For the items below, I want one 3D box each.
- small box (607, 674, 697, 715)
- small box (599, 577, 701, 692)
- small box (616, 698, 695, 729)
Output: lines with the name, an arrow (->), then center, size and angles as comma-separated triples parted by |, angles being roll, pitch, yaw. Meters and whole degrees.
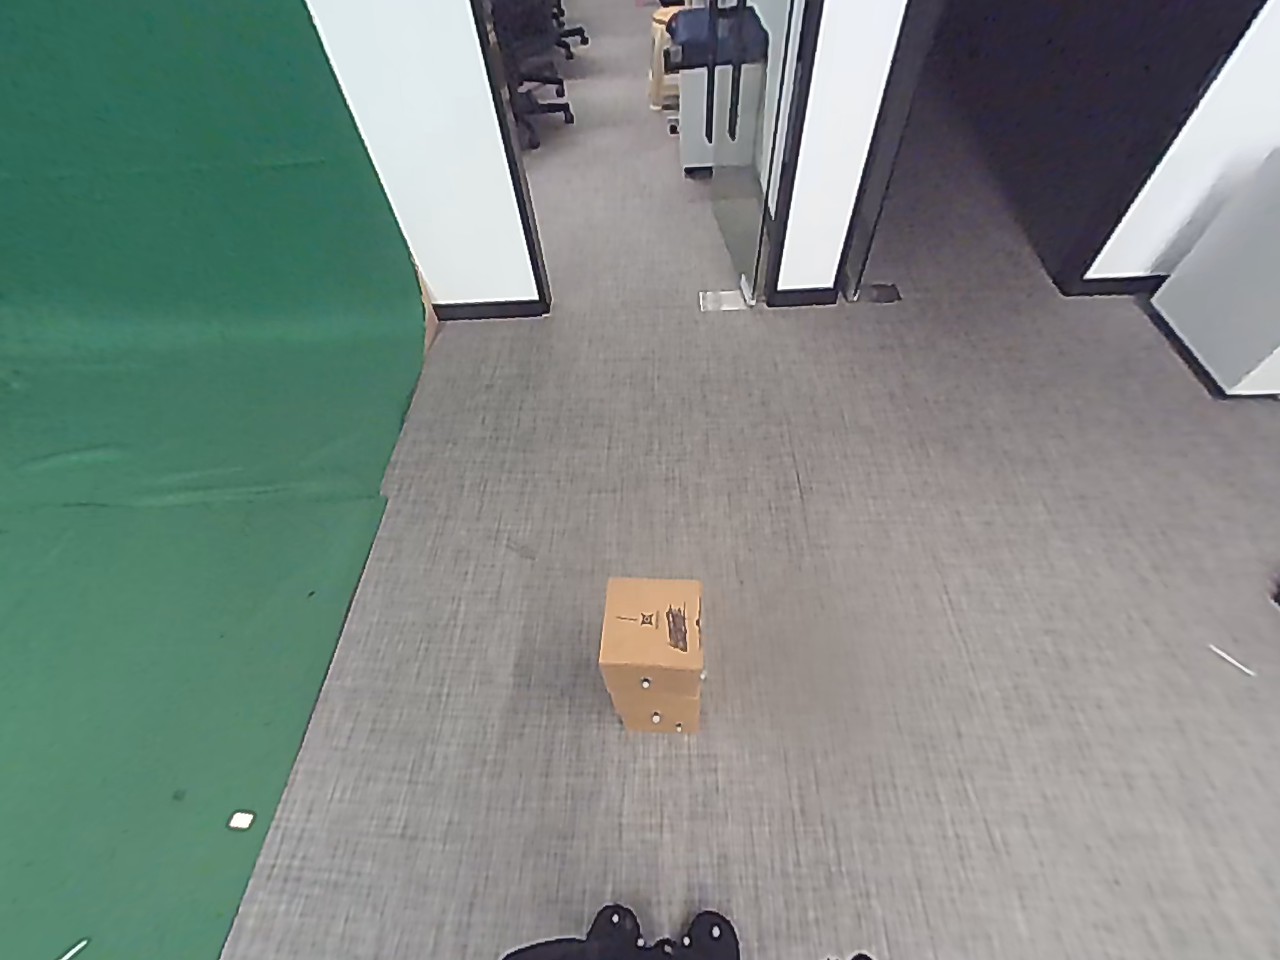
small box -> 0.032, 0.398, 1.165 | 0.179, 0.176, 0.168 | 4, 54, 6
small box -> 0.021, 0.298, 1.034 | 0.179, 0.176, 0.168 | 0, 54, 2
small box -> 0.042, 0.490, 1.300 | 0.179, 0.176, 0.168 | -1, 53, 5
